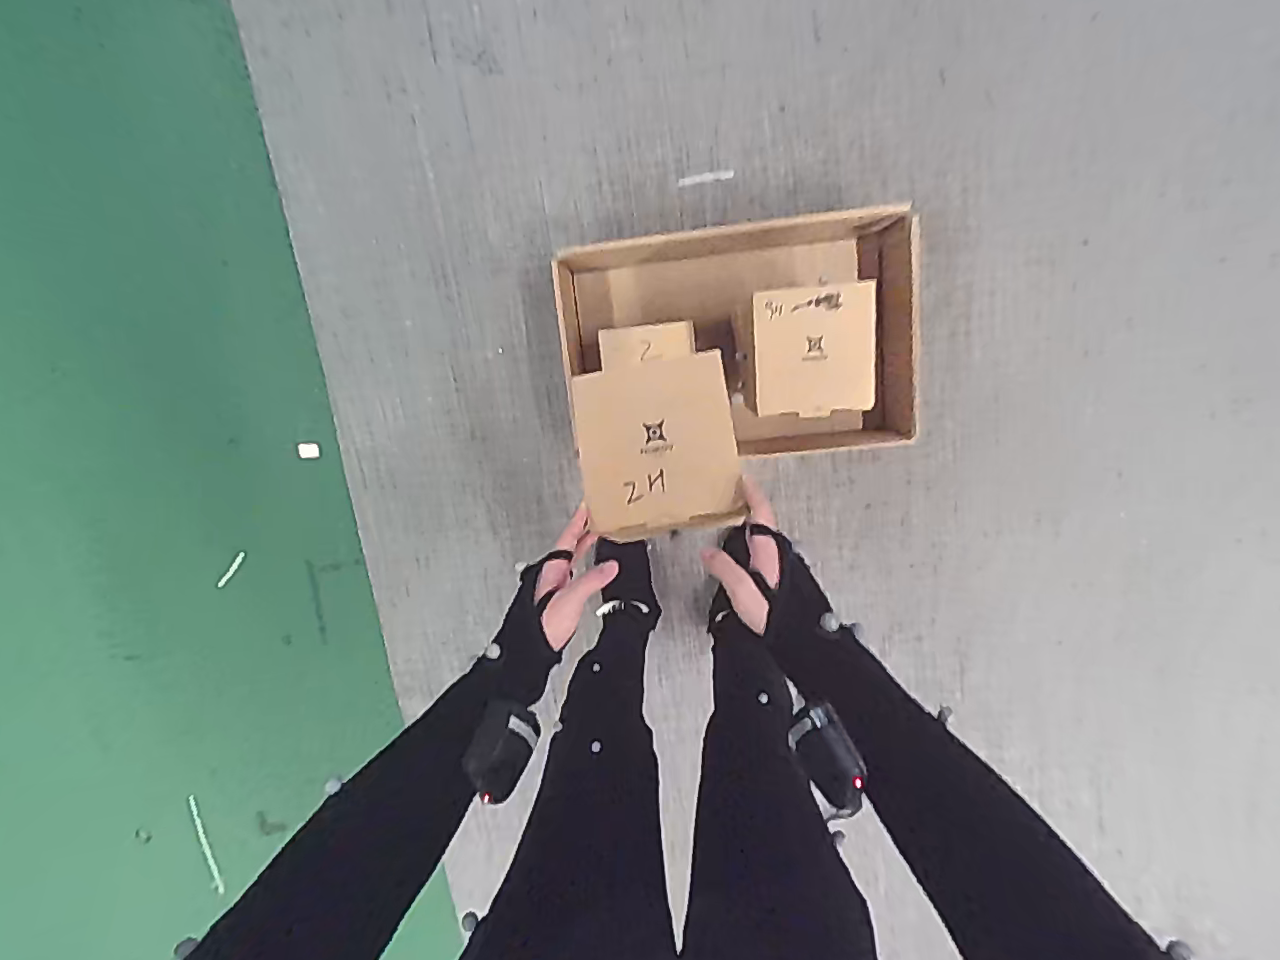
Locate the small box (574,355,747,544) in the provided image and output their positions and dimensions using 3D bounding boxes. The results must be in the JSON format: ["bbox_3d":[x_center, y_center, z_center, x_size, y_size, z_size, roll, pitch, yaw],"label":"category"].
[{"bbox_3d":[0.028,-0.024,0.642,0.168,0.176,0.179,-9,79,8],"label":"small box"}]

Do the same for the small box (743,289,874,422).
[{"bbox_3d":[0.252,-0.191,0.838,0.168,0.176,0.179,-3,102,6],"label":"small box"}]
